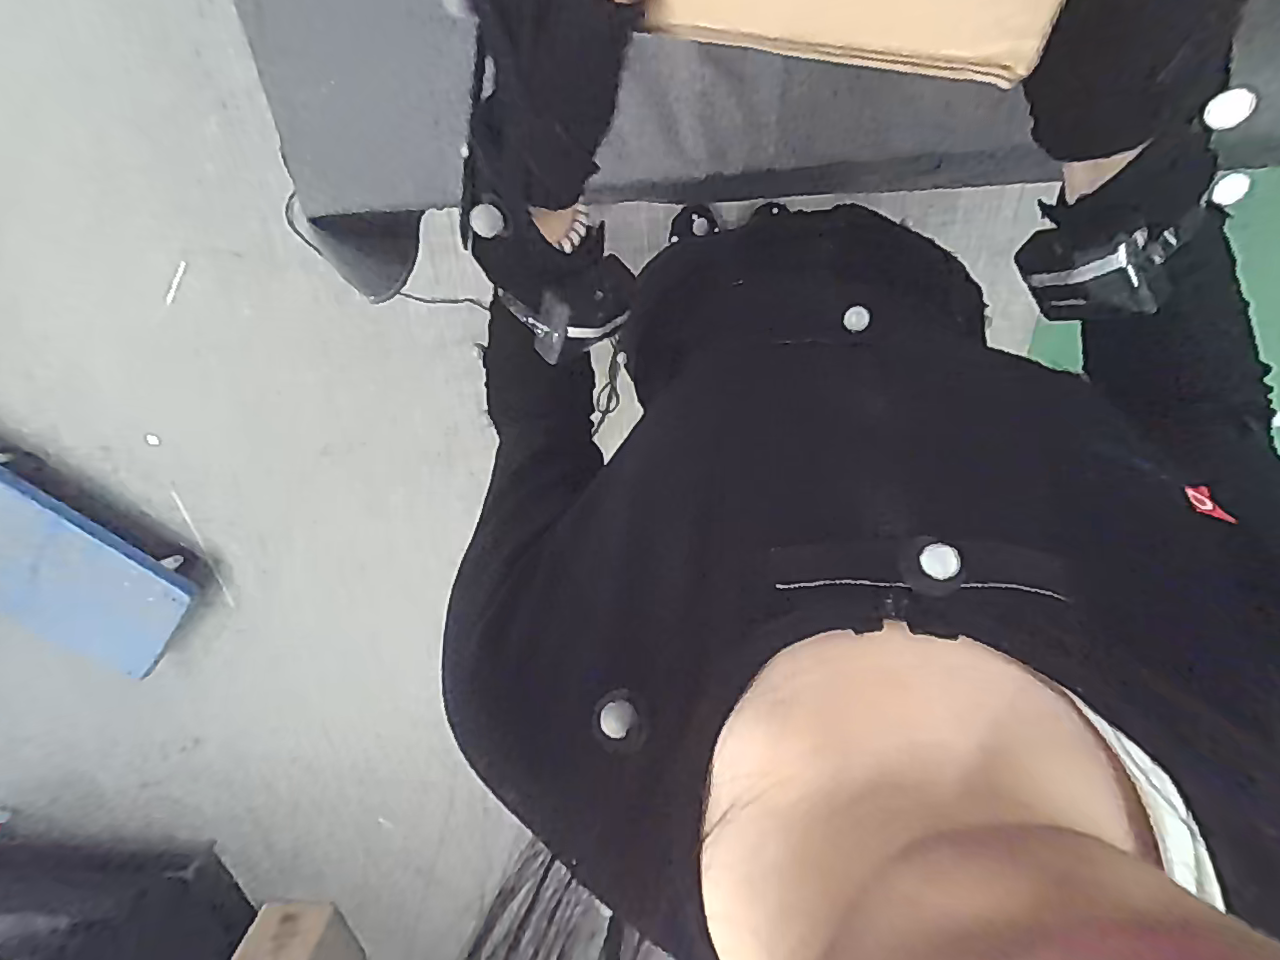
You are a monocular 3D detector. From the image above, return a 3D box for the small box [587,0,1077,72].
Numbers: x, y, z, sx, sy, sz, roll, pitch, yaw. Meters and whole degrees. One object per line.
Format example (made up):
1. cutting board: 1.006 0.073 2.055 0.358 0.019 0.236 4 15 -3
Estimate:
1. small box: 0.077 -0.264 0.153 0.179 0.168 0.176 21 158 16
